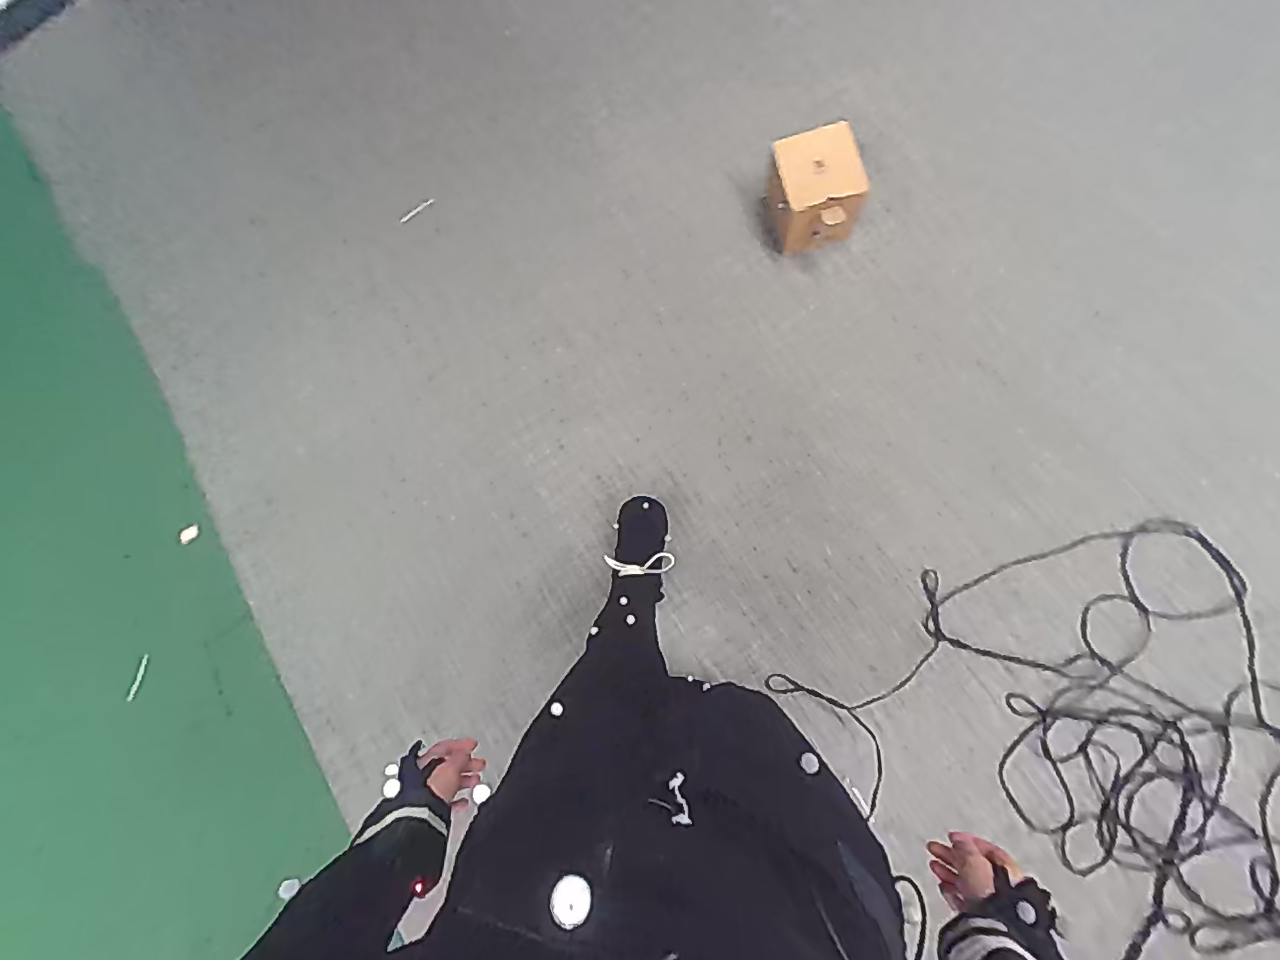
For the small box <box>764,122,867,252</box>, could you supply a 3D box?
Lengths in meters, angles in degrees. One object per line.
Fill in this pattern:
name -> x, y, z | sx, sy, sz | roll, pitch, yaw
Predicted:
small box -> 0.386, -0.655, 1.226 | 0.168, 0.176, 0.179 | -14, 80, 5
